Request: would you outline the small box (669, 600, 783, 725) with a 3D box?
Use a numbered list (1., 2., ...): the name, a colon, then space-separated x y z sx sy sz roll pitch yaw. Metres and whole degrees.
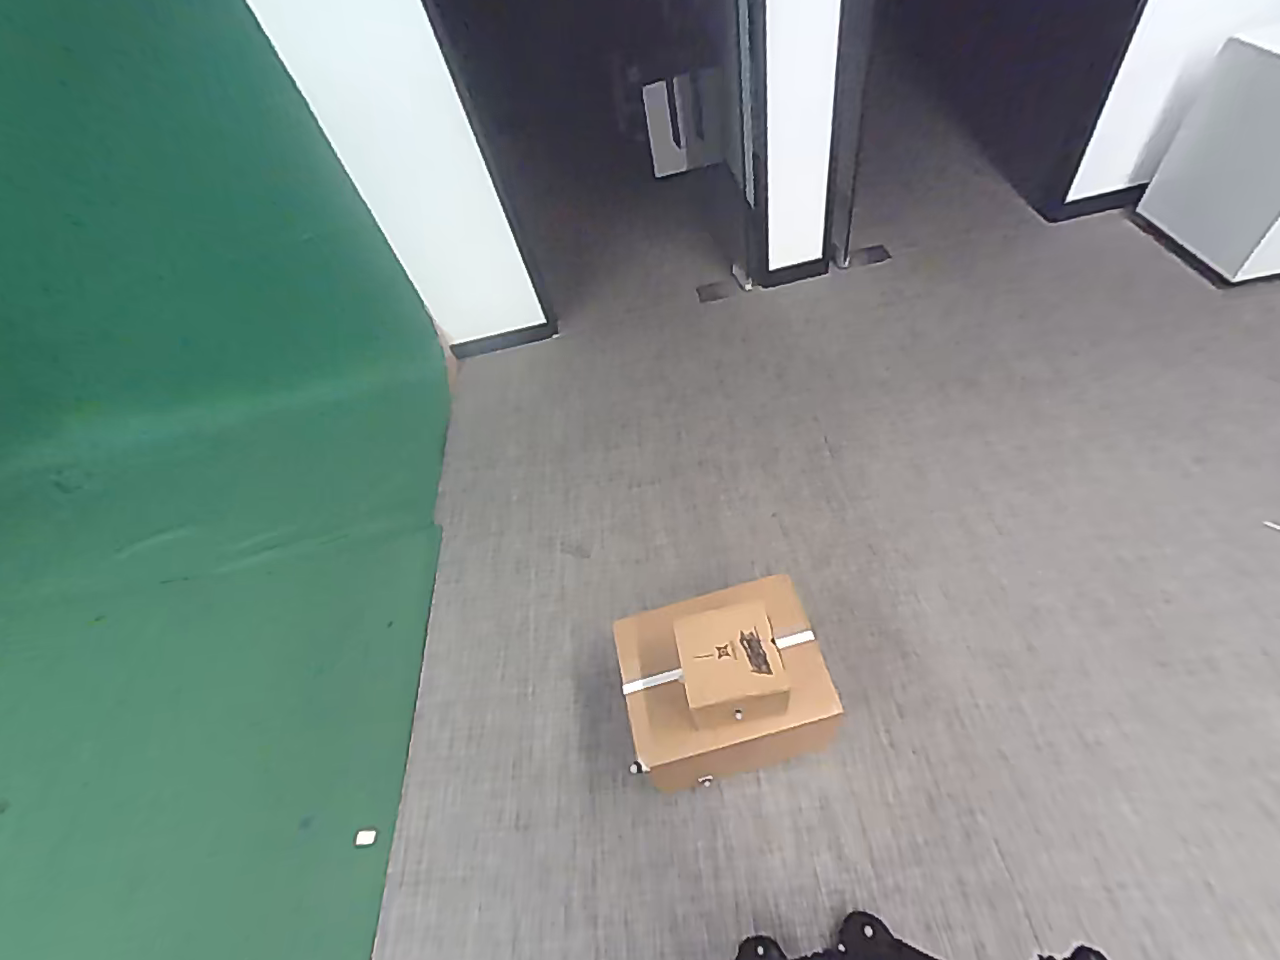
1. small box: 0.163 0.351 1.031 0.179 0.176 0.168 -13 52 4
